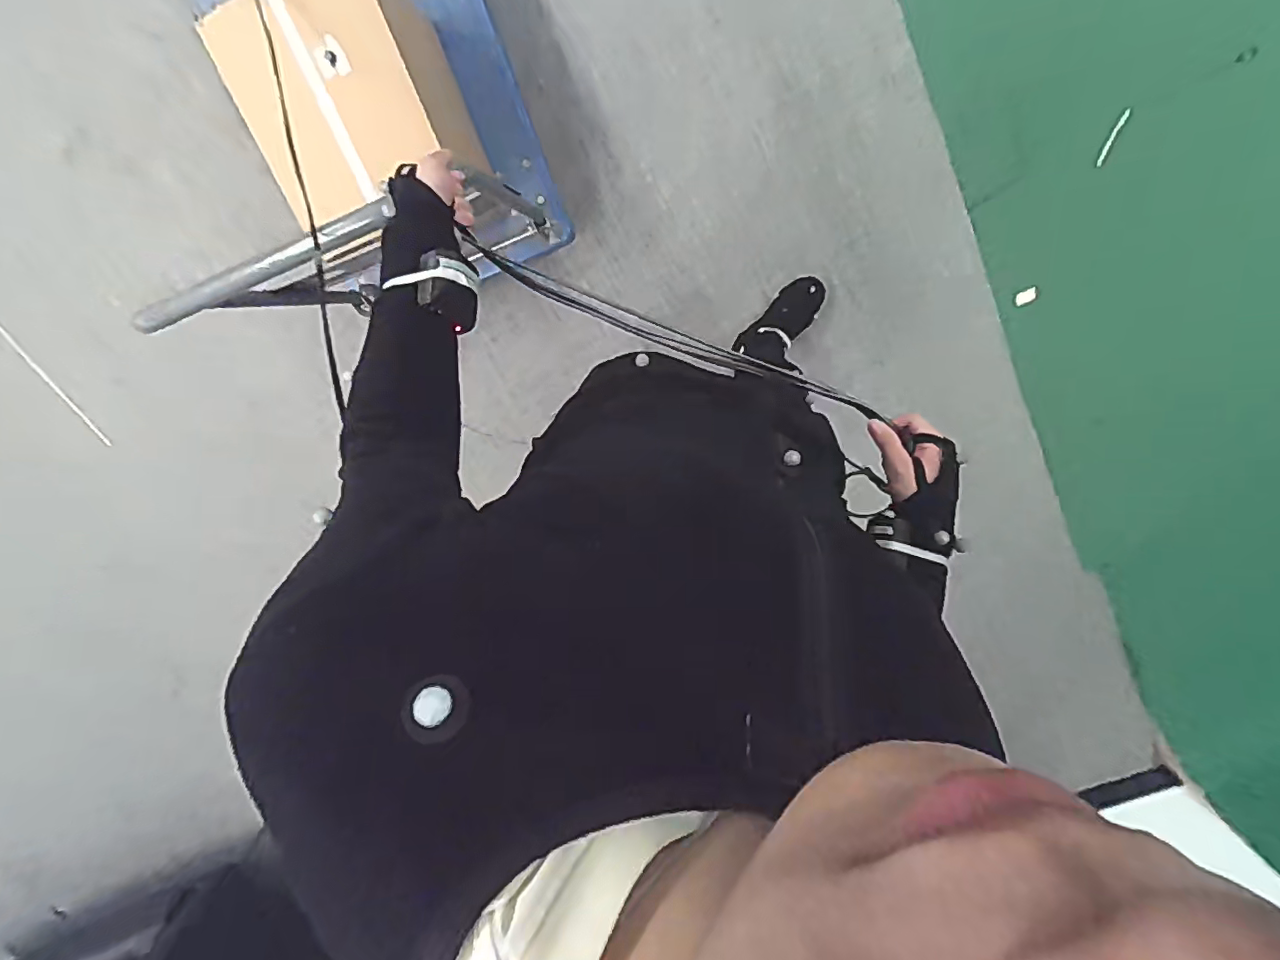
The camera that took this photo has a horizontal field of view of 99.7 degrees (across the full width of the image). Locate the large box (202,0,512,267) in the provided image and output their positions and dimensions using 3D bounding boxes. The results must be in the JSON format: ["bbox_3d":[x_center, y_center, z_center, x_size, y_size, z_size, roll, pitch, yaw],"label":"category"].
[{"bbox_3d":[-0.510,-0.680,1.072,0.320,0.320,0.408,-19,108,10],"label":"large box"}]
